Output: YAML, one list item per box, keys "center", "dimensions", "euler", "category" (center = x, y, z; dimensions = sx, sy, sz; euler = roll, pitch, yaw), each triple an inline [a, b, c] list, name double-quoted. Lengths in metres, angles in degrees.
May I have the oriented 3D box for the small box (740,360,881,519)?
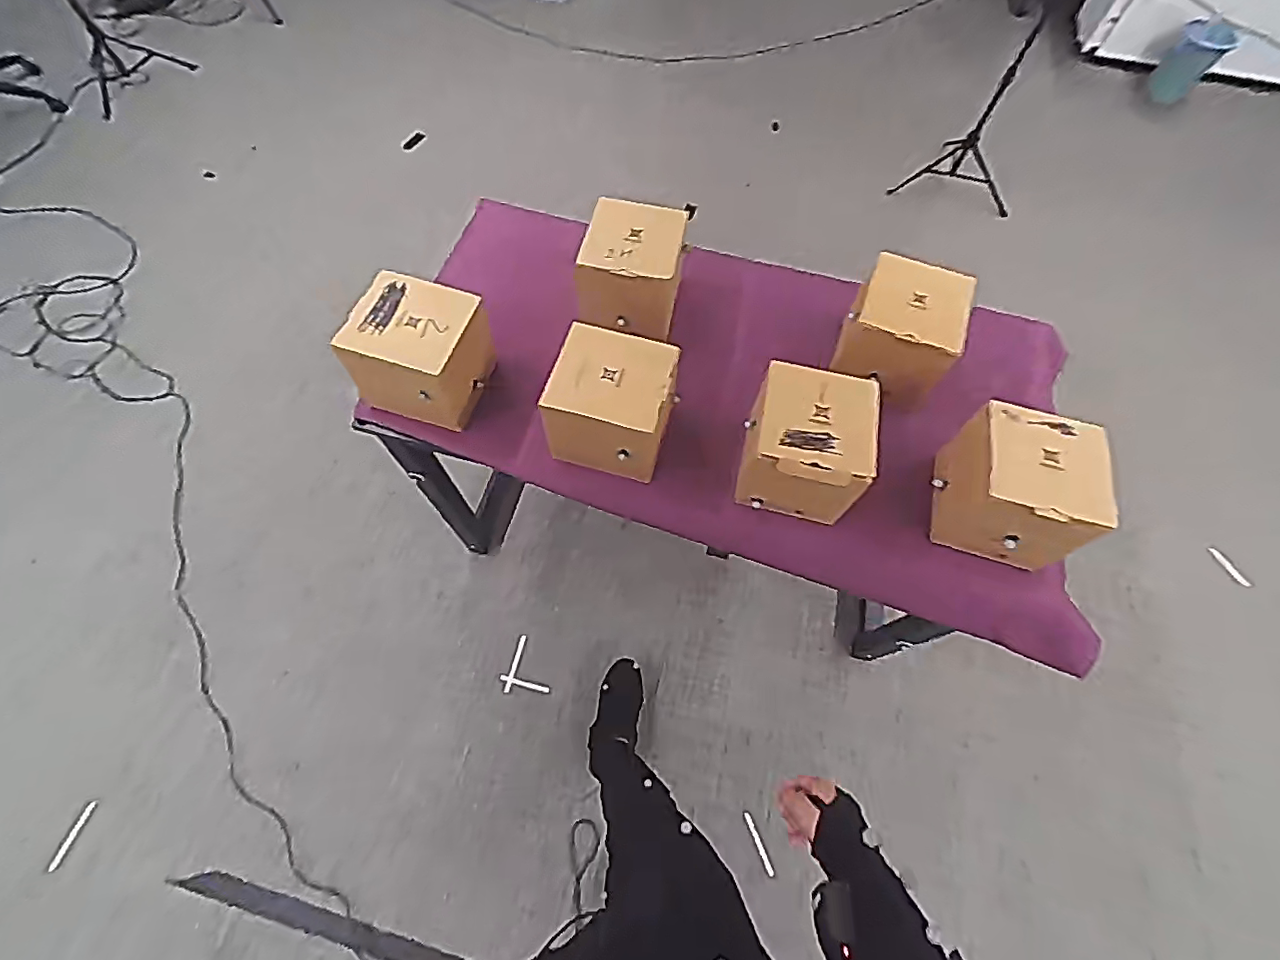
- center: [0.262, -0.057, 0.857]
  dimensions: [0.168, 0.176, 0.179]
  euler: [14, 63, 5]
  category: "small box"

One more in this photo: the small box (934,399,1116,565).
- center: [0.576, 0.010, 0.830]
  dimensions: [0.168, 0.176, 0.179]
  euler: [17, 63, 7]
  category: "small box"

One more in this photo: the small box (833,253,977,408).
- center: [0.464, -0.262, 0.966]
  dimensions: [0.168, 0.176, 0.179]
  euler: [20, 67, 9]
  category: "small box"

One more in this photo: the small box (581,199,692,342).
- center: [-0.006, -0.385, 1.013]
  dimensions: [0.168, 0.176, 0.179]
  euler: [12, 65, 4]
  category: "small box"

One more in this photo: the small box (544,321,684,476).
- center: [-0.038, -0.124, 0.883]
  dimensions: [0.179, 0.176, 0.168]
  euler: [15, 64, 6]
  category: "small box"
